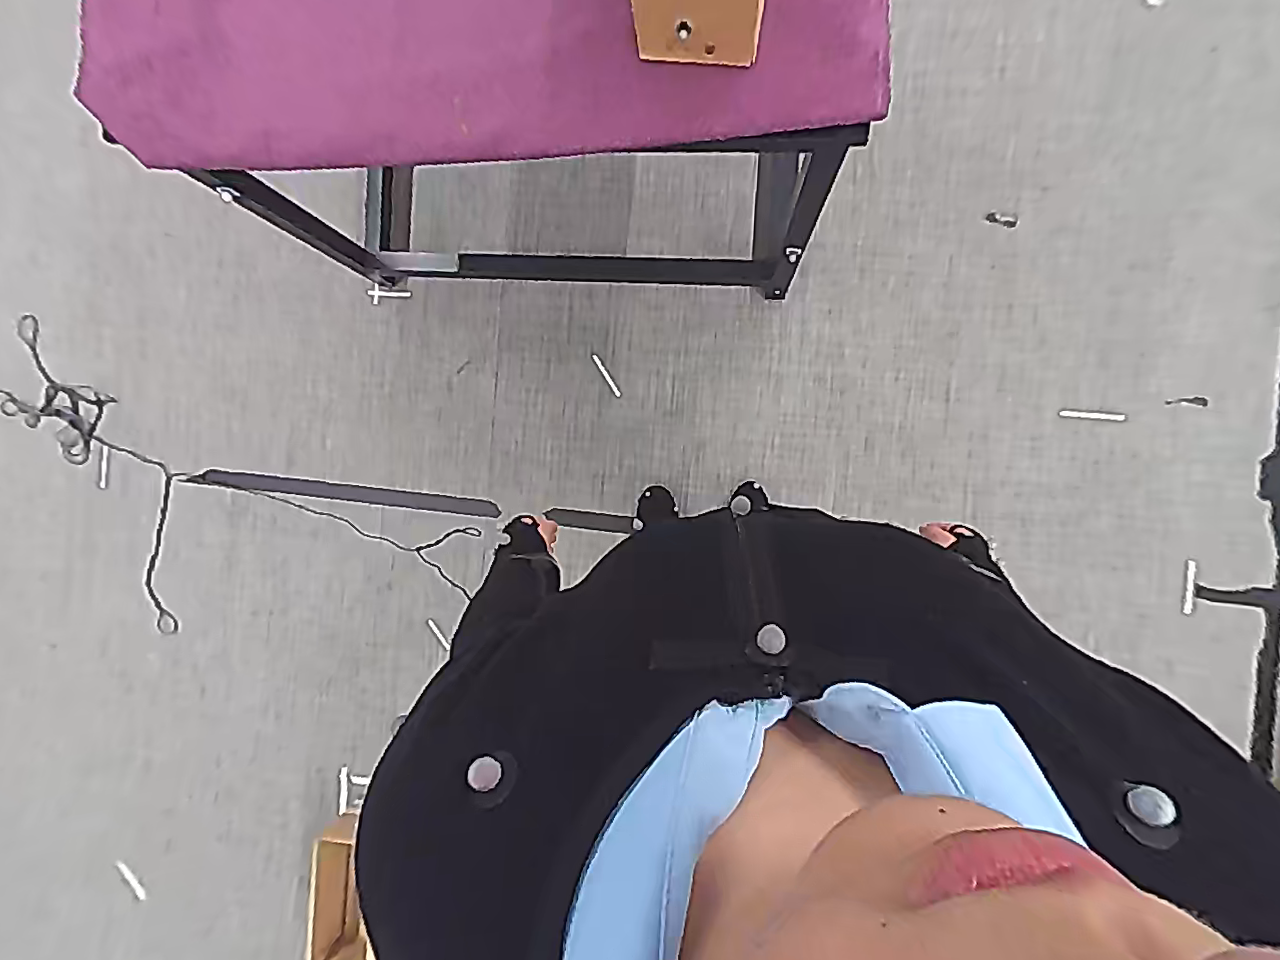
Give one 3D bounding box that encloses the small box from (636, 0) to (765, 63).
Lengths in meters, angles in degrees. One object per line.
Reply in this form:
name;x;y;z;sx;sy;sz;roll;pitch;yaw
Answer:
small box;0.084;-0.684;0.686;0.168;0.176;0.179;9;91;7
